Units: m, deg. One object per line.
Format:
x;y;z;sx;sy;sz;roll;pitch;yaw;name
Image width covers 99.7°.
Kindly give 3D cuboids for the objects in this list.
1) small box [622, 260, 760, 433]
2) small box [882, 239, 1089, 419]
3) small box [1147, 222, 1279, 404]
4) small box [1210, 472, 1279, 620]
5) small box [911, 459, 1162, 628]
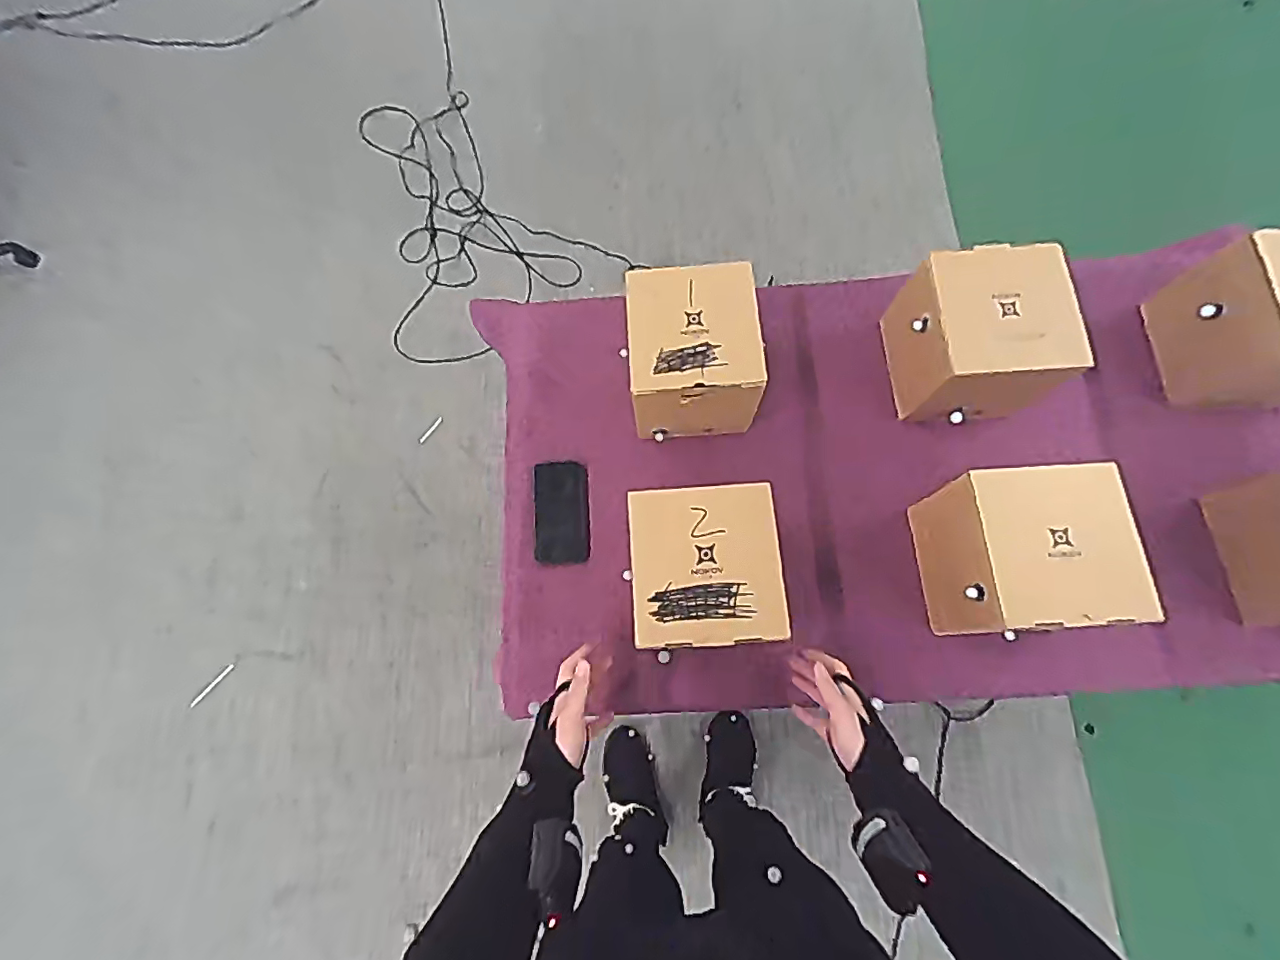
0.067;-0.172;0.751;0.168;0.176;0.179;-4;74;2;small box
0.449;-0.196;0.739;0.168;0.176;0.179;-3;75;3;small box
0.839;-0.216;0.720;0.168;0.176;0.179;-2;74;3;small box
0.847;0.069;0.636;0.168;0.176;0.179;-5;75;3;small box
0.456;0.085;0.658;0.168;0.176;0.179;-4;74;2;small box
